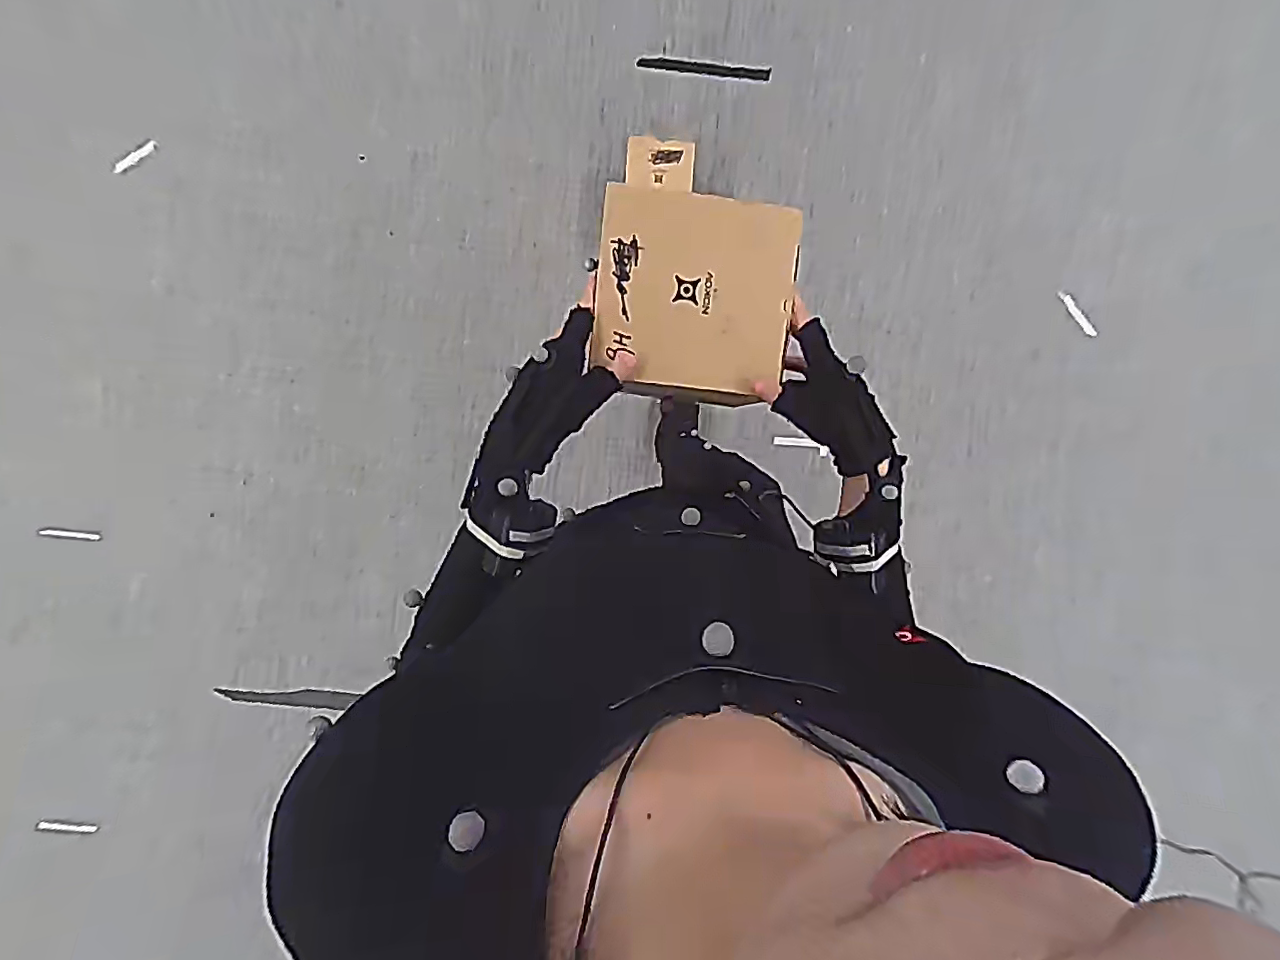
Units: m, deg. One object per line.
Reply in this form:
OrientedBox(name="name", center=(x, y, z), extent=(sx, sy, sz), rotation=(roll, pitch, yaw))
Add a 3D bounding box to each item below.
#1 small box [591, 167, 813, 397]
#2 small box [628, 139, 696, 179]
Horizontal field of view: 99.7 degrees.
OrientedBox(name="small box", center=(0.047, -0.176, 0.541), extent=(0.179, 0.176, 0.168), rotation=(6, 94, -5))
OrientedBox(name="small box", center=(0.045, -0.738, 1.398), extent=(0.168, 0.176, 0.179), rotation=(5, 93, -2))
